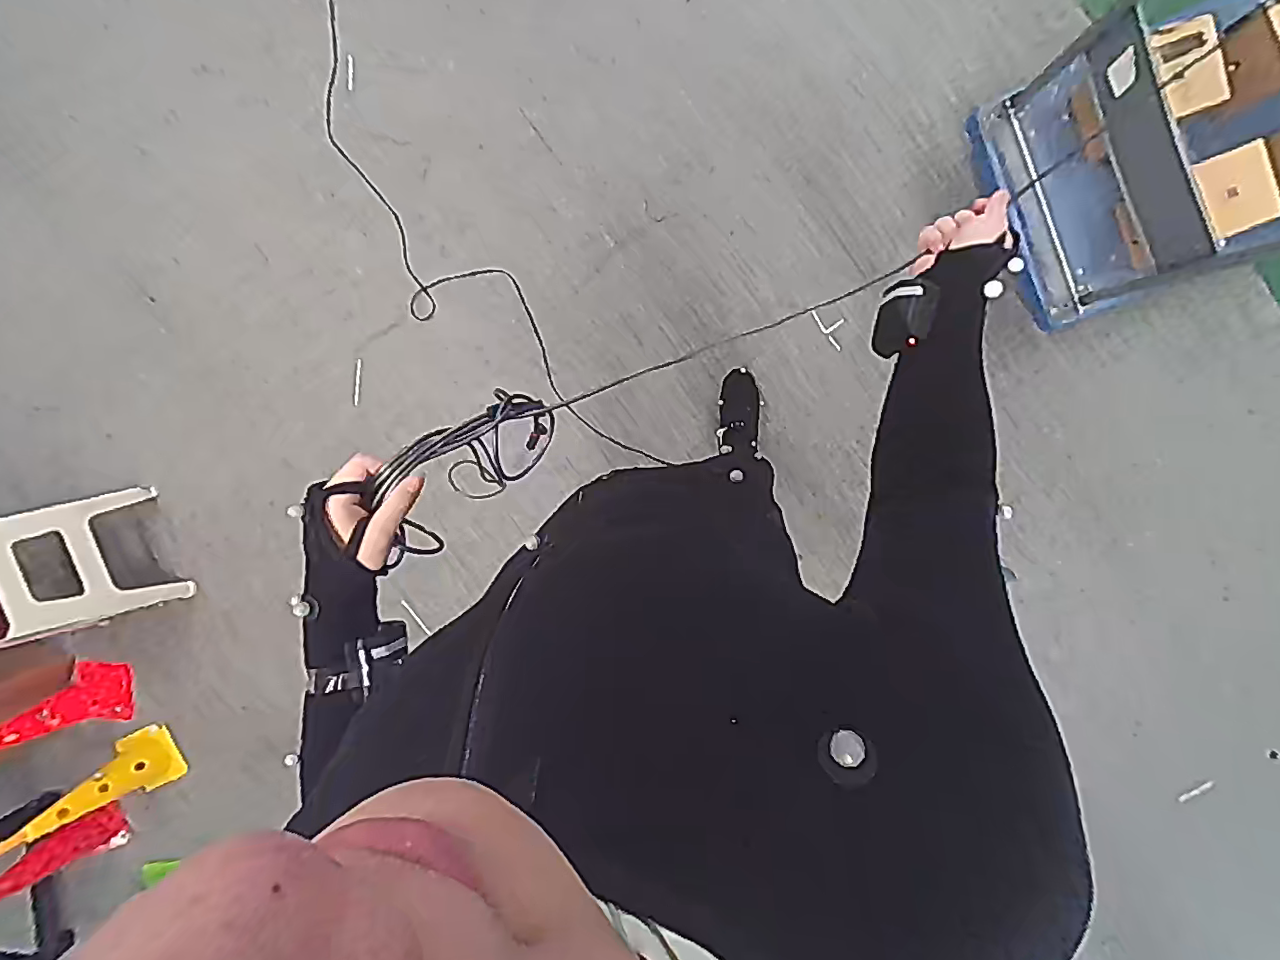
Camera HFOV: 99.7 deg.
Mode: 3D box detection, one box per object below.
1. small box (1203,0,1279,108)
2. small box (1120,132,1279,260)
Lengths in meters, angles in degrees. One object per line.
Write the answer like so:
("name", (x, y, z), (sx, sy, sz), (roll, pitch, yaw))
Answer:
("small box", (1.371, -0.946, 1.151), (0.179, 0.176, 0.168), (-26, 94, 7))
("small box", (1.237, -0.619, 1.200), (0.179, 0.176, 0.168), (-22, 94, 7))
